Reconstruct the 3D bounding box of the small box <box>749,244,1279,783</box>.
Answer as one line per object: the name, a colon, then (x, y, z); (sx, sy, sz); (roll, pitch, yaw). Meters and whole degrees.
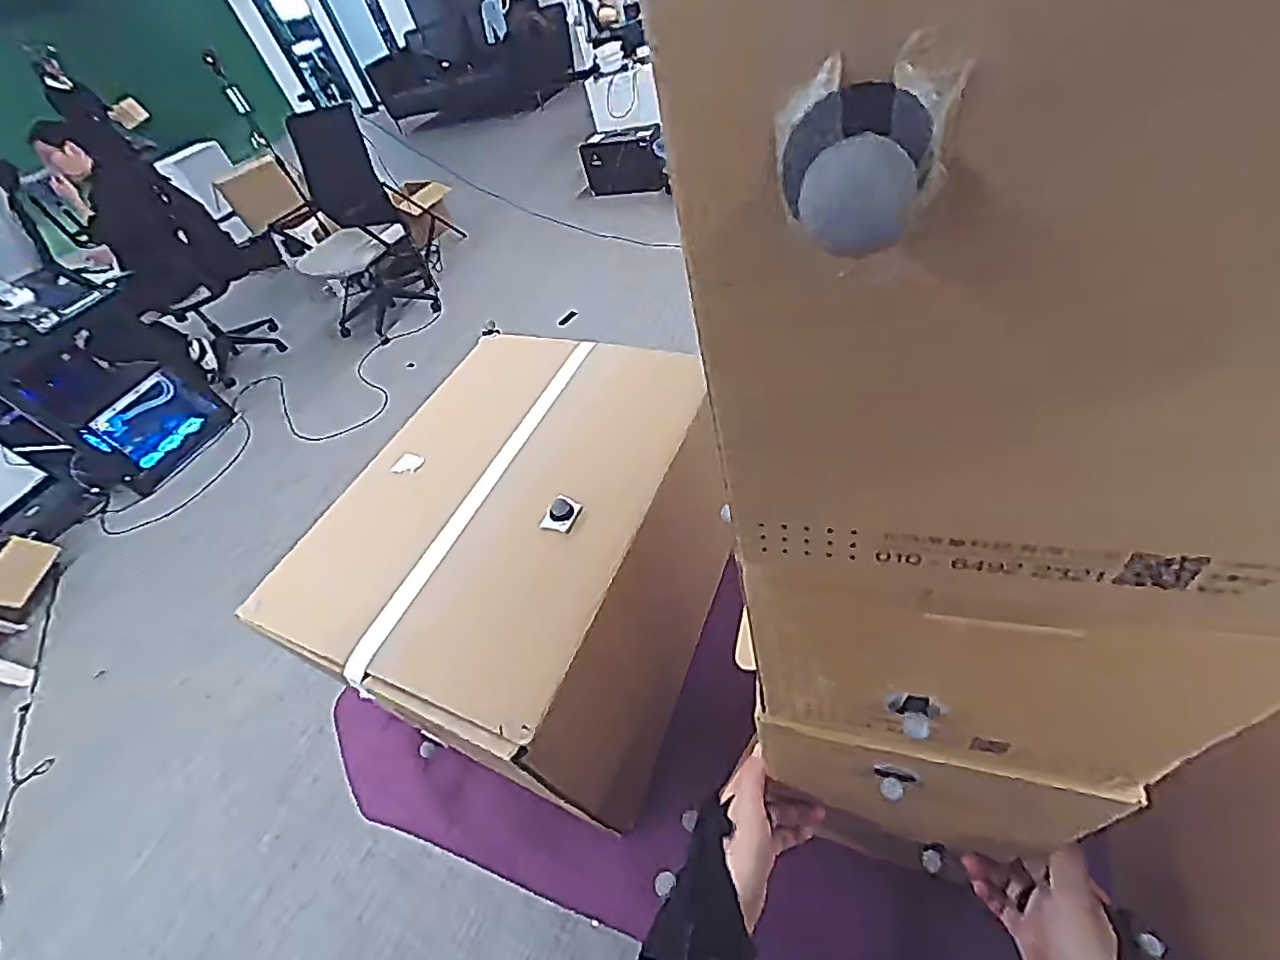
small box: (0.150, 0.015, 0.258); (0.168, 0.176, 0.179); (3, 51, 20)
